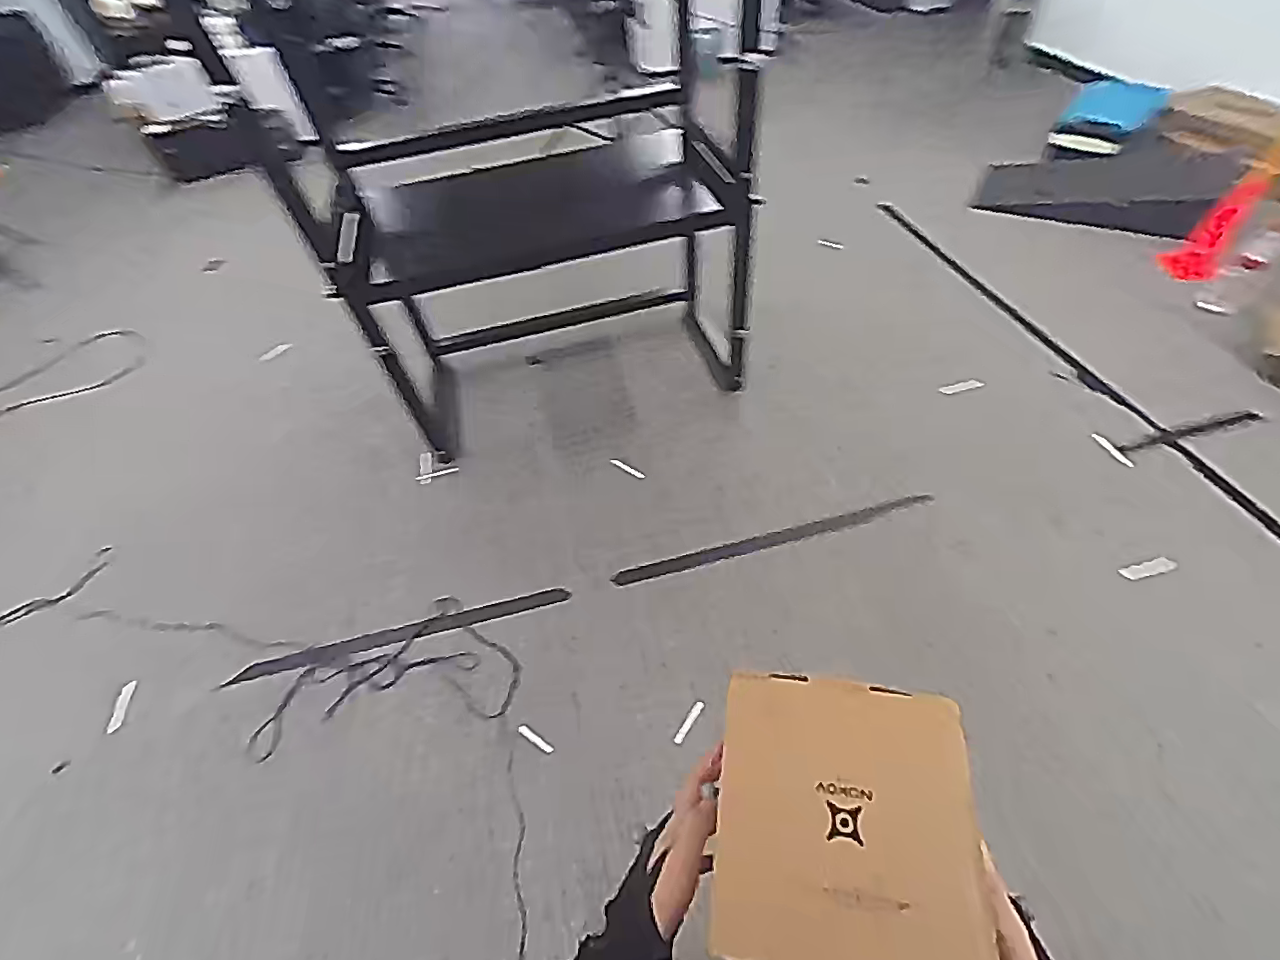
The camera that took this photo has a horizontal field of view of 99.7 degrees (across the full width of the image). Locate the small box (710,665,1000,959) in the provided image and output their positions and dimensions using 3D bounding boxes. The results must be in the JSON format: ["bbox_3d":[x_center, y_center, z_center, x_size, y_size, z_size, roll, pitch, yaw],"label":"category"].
[{"bbox_3d":[0.144,0.266,0.420,0.168,0.176,0.179,3,54,11],"label":"small box"}]
